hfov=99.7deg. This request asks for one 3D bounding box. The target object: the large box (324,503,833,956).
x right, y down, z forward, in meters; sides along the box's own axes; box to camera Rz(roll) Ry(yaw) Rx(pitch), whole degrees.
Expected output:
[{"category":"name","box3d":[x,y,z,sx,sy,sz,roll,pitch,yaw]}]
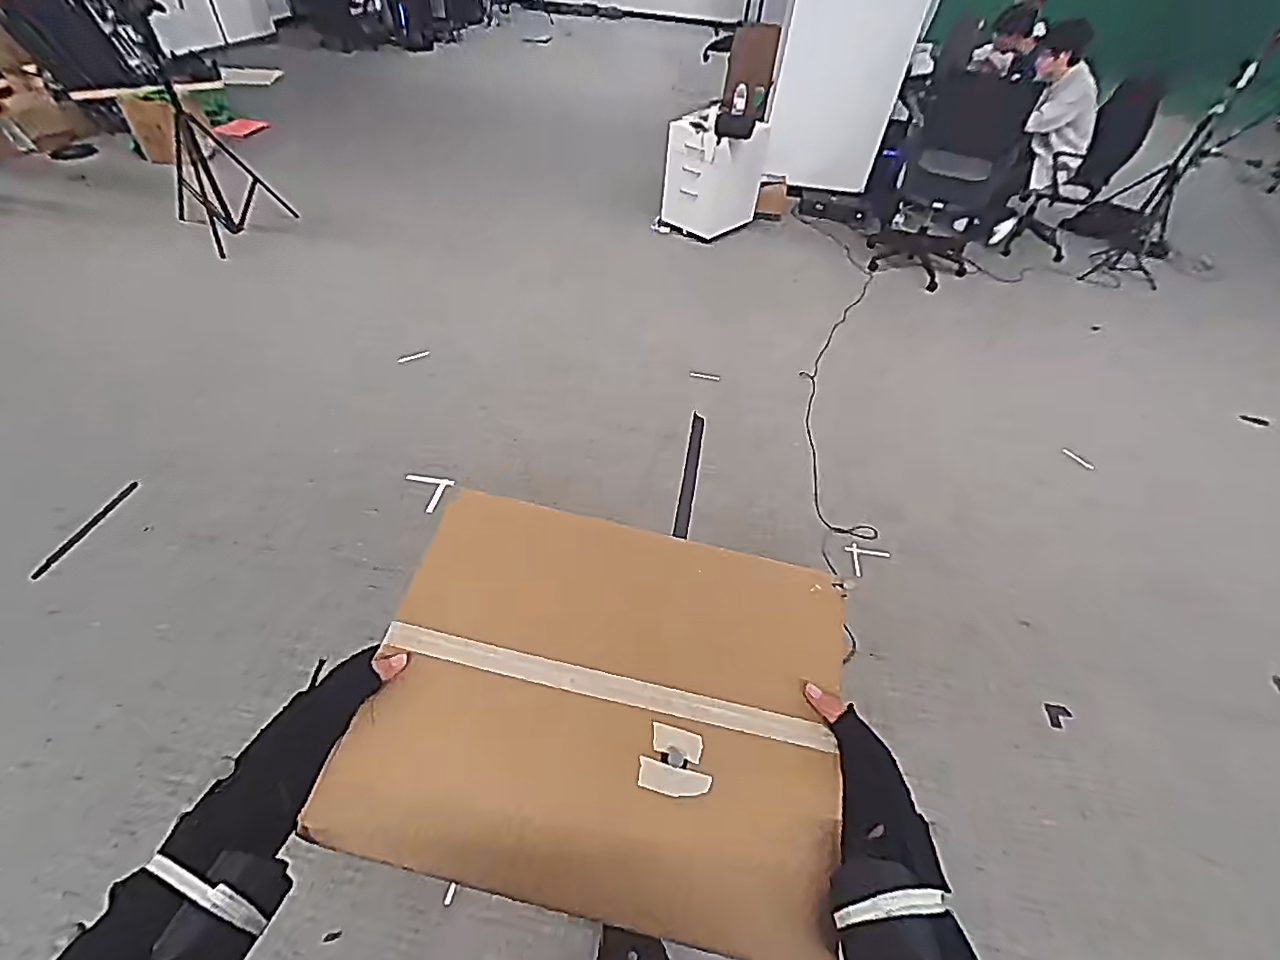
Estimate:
[{"category":"large box","box3d":[-0.037,0.267,0.614,0.408,0.320,0.320,13,59,3]}]
